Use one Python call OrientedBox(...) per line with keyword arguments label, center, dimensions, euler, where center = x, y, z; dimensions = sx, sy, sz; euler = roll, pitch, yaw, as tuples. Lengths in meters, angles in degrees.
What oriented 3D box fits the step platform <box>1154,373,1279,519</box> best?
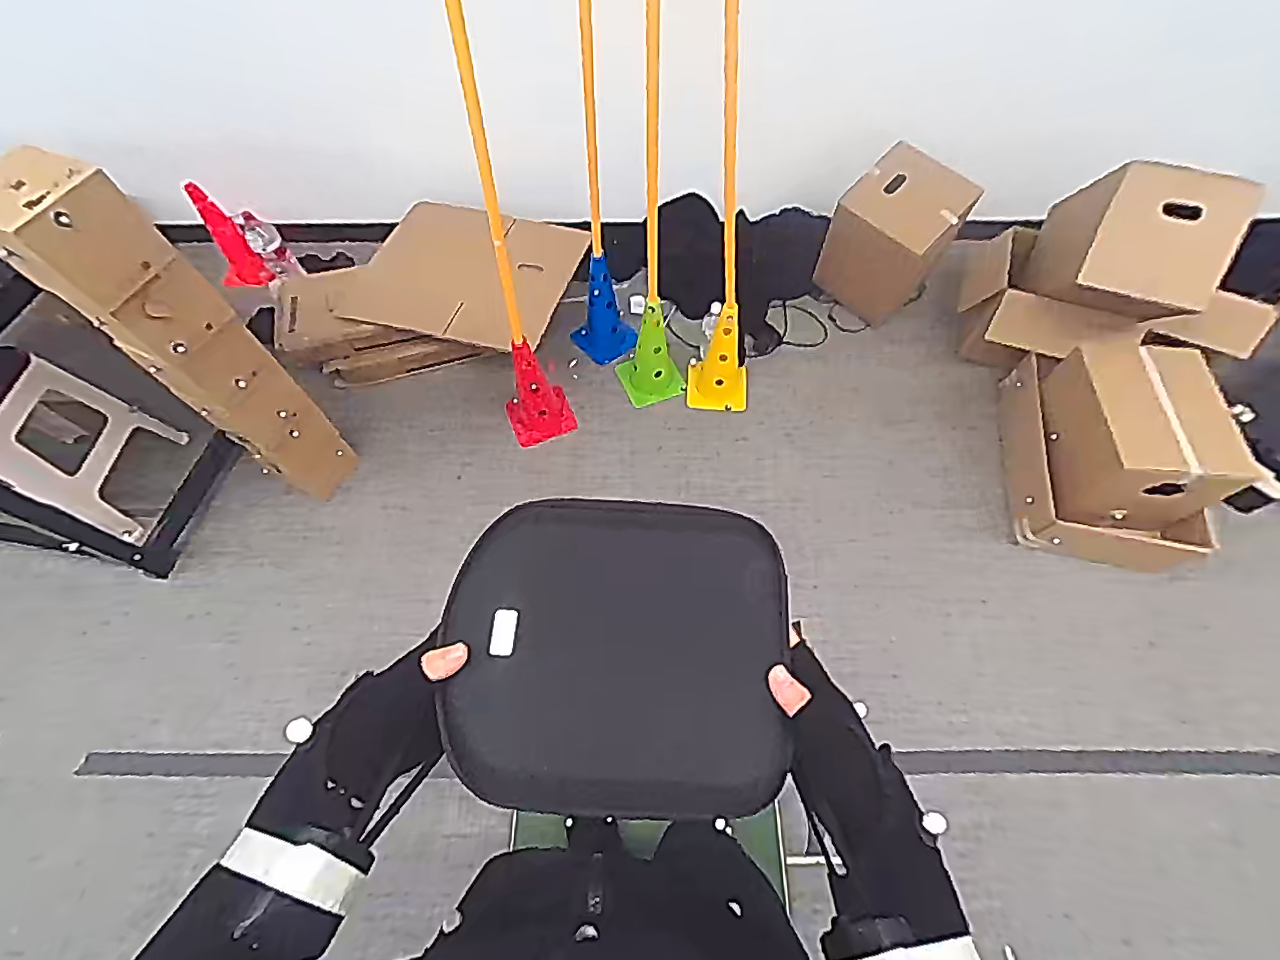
OrientedBox(label="step platform", center=(1.980, -0.155, 1.662), dimensions=(0.684, 0.204, 0.286), euler=(-26, 64, -13))
